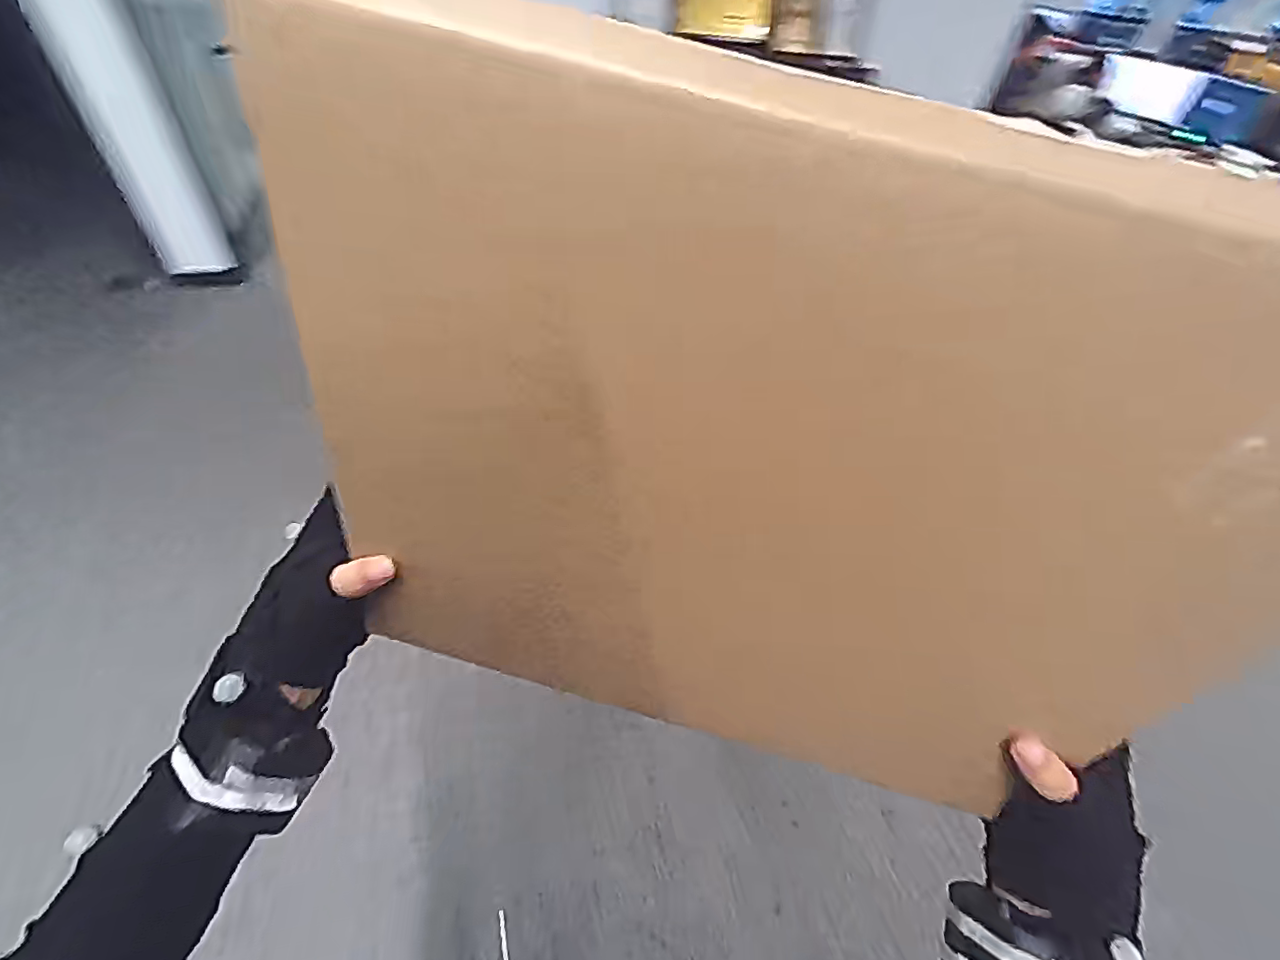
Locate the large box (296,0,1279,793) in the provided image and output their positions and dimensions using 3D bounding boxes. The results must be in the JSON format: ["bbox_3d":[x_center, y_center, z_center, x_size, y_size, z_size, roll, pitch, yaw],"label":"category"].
[{"bbox_3d":[0.082,-0.056,0.360,0.408,0.320,0.320,16,39,0],"label":"large box"}]
